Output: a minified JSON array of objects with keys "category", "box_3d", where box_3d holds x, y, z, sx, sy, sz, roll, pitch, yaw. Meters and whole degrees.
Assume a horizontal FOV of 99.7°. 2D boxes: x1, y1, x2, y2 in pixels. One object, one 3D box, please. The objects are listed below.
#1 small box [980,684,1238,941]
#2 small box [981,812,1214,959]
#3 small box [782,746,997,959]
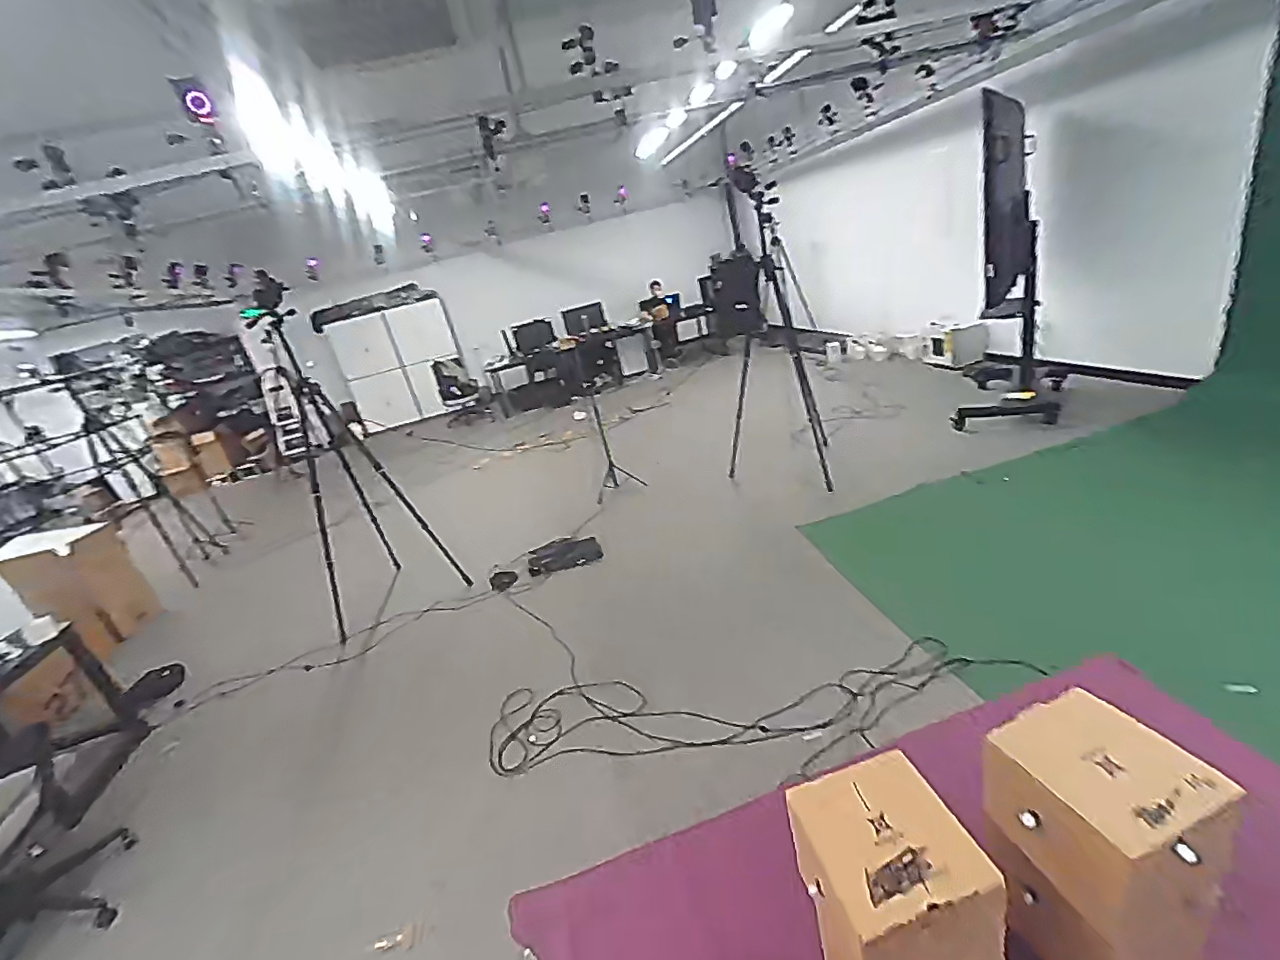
[{"category":"small box","box_3d":[0.555,0.397,0.665,0.168,0.176,0.179,-19,22,-12]},{"category":"small box","box_3d":[0.592,0.545,0.724,0.168,0.176,0.179,-19,22,-11]},{"category":"small box","box_3d":[0.292,0.471,0.650,0.168,0.176,0.179,-16,22,-6]}]
